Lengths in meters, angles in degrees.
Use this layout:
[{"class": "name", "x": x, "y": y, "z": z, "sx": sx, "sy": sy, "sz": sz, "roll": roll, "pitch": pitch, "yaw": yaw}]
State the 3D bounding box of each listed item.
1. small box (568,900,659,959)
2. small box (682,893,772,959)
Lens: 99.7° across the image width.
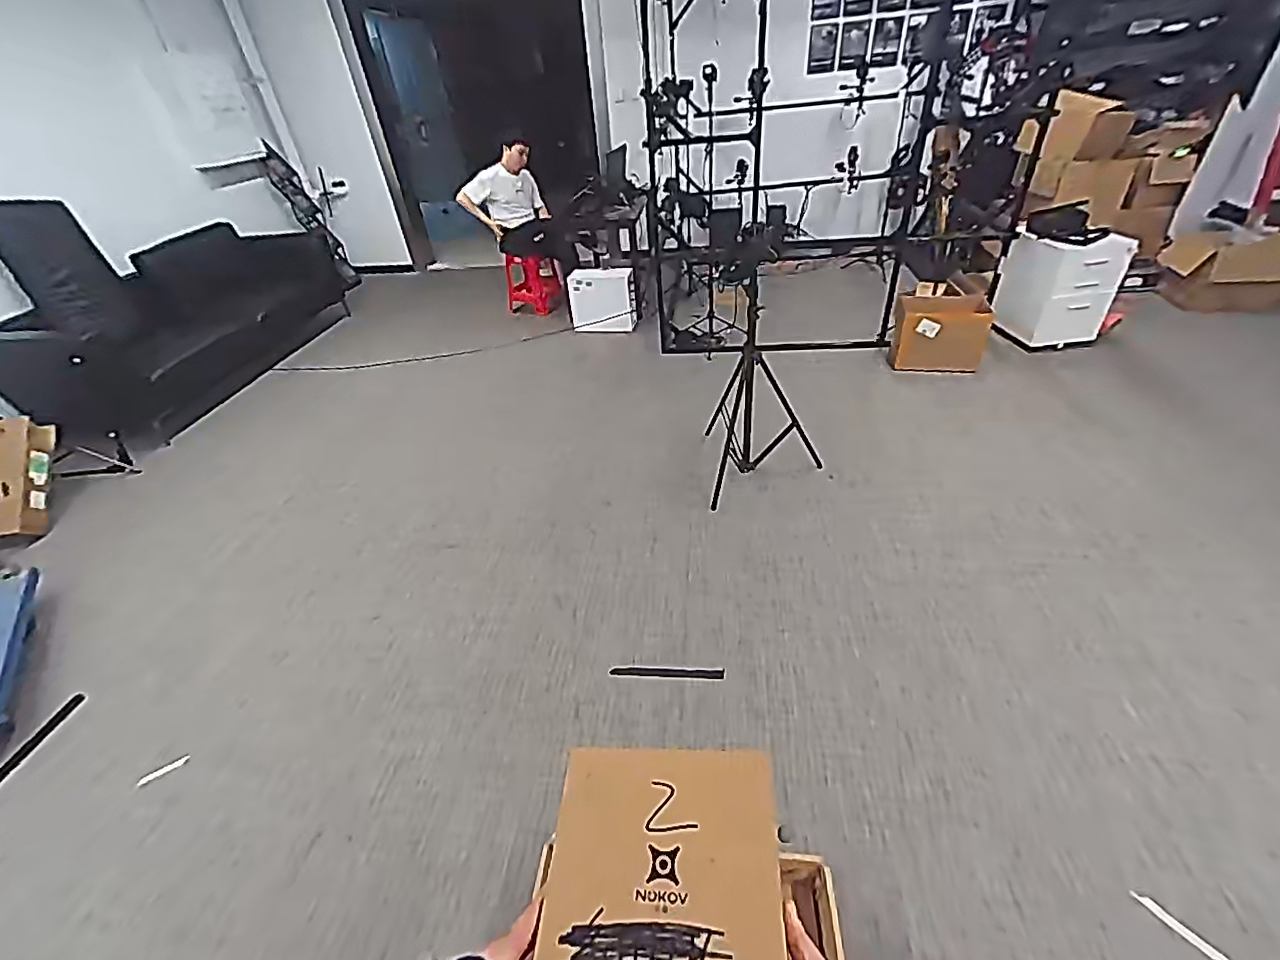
[{"class": "small box", "x": -0.049, "y": 0.965, "z": 1.065, "sx": 0.168, "sy": 0.176, "sz": 0.179, "roll": 0, "pitch": 37, "yaw": 5}, {"class": "small box", "x": 0.168, "y": 0.954, "z": 1.056, "sx": 0.168, "sy": 0.176, "sz": 0.179, "roll": 2, "pitch": 38, "yaw": 12}]
